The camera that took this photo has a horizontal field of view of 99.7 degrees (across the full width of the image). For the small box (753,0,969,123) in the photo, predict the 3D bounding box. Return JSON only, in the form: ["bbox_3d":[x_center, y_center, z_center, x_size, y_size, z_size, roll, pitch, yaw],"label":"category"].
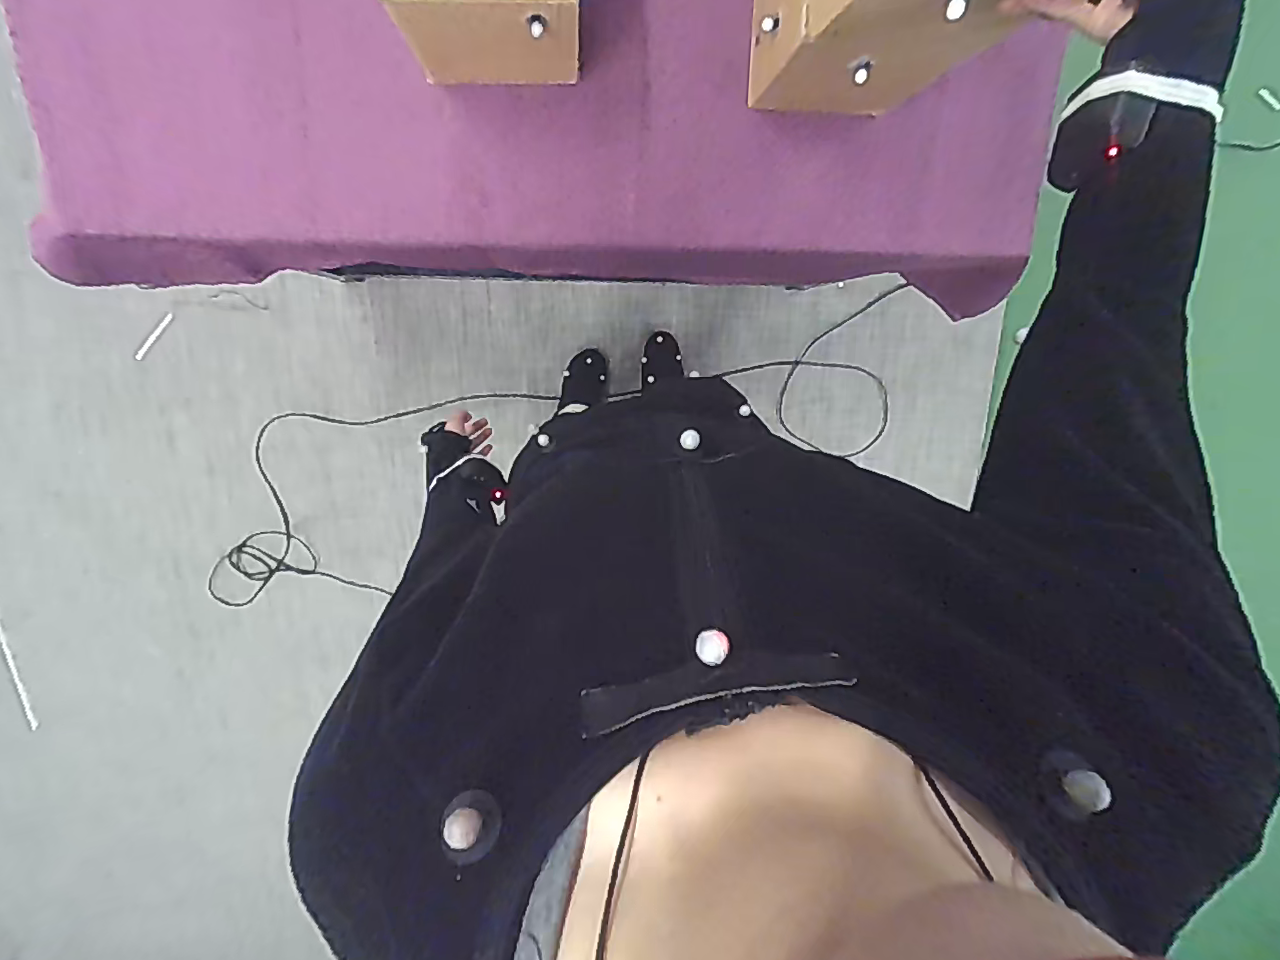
[{"bbox_3d":[0.231,-0.510,0.582,0.179,0.176,0.168,-1,105,-7],"label":"small box"}]

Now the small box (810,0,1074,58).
[{"bbox_3d":[0.259,-0.462,0.420,0.179,0.176,0.168,-2,107,-9],"label":"small box"}]

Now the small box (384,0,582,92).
[{"bbox_3d":[-0.151,-0.515,0.539,0.179,0.176,0.168,-5,104,-6],"label":"small box"}]
